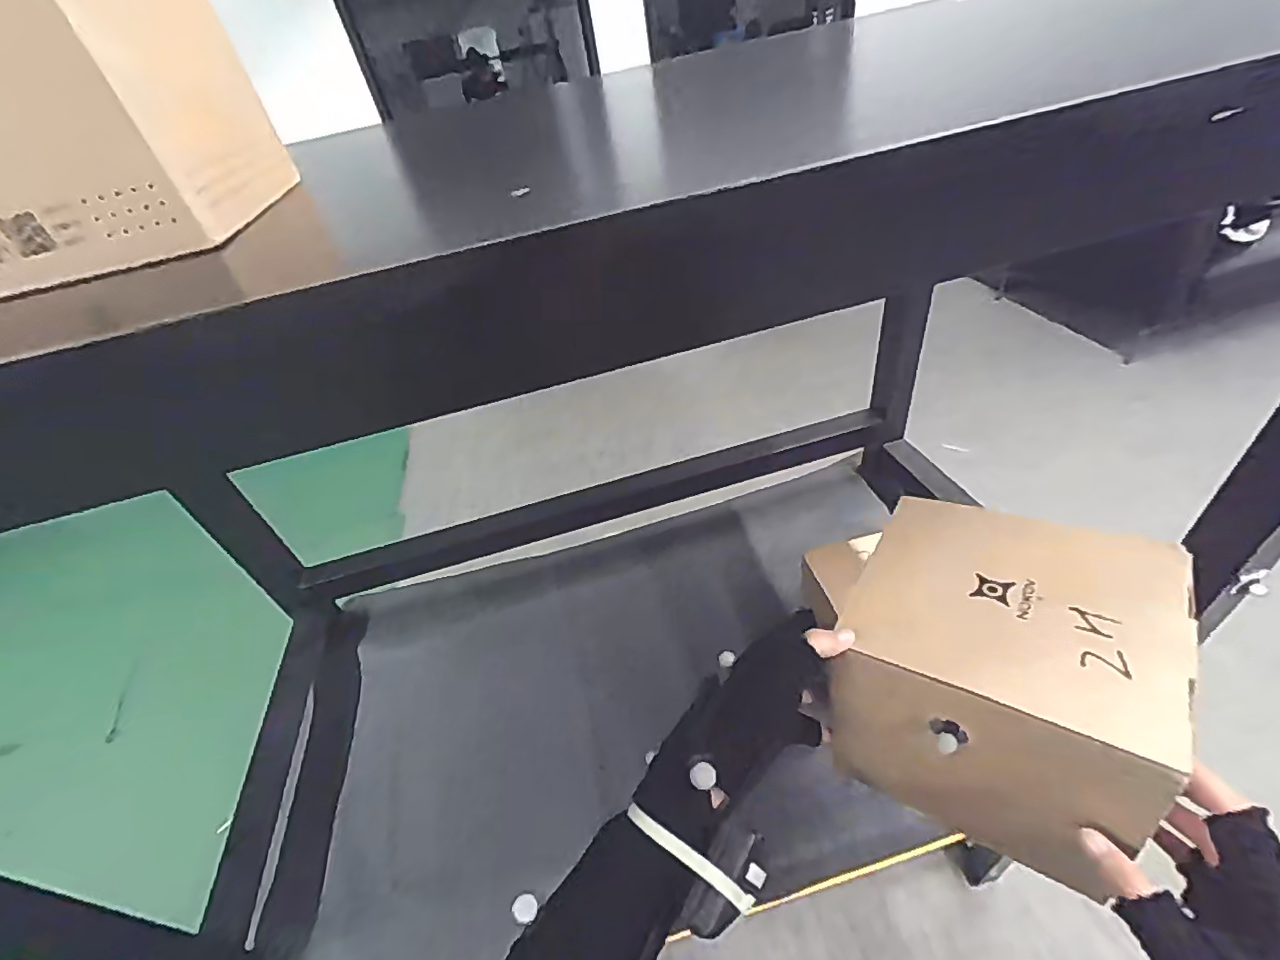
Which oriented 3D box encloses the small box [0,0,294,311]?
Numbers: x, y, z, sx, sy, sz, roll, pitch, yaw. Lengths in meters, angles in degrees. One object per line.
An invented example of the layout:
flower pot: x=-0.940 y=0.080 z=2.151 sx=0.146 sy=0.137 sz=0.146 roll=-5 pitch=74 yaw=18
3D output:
small box: x=-0.296 y=-0.183 z=0.244 sx=0.168 sy=0.176 sz=0.179 roll=-17 pitch=39 yaw=-6
